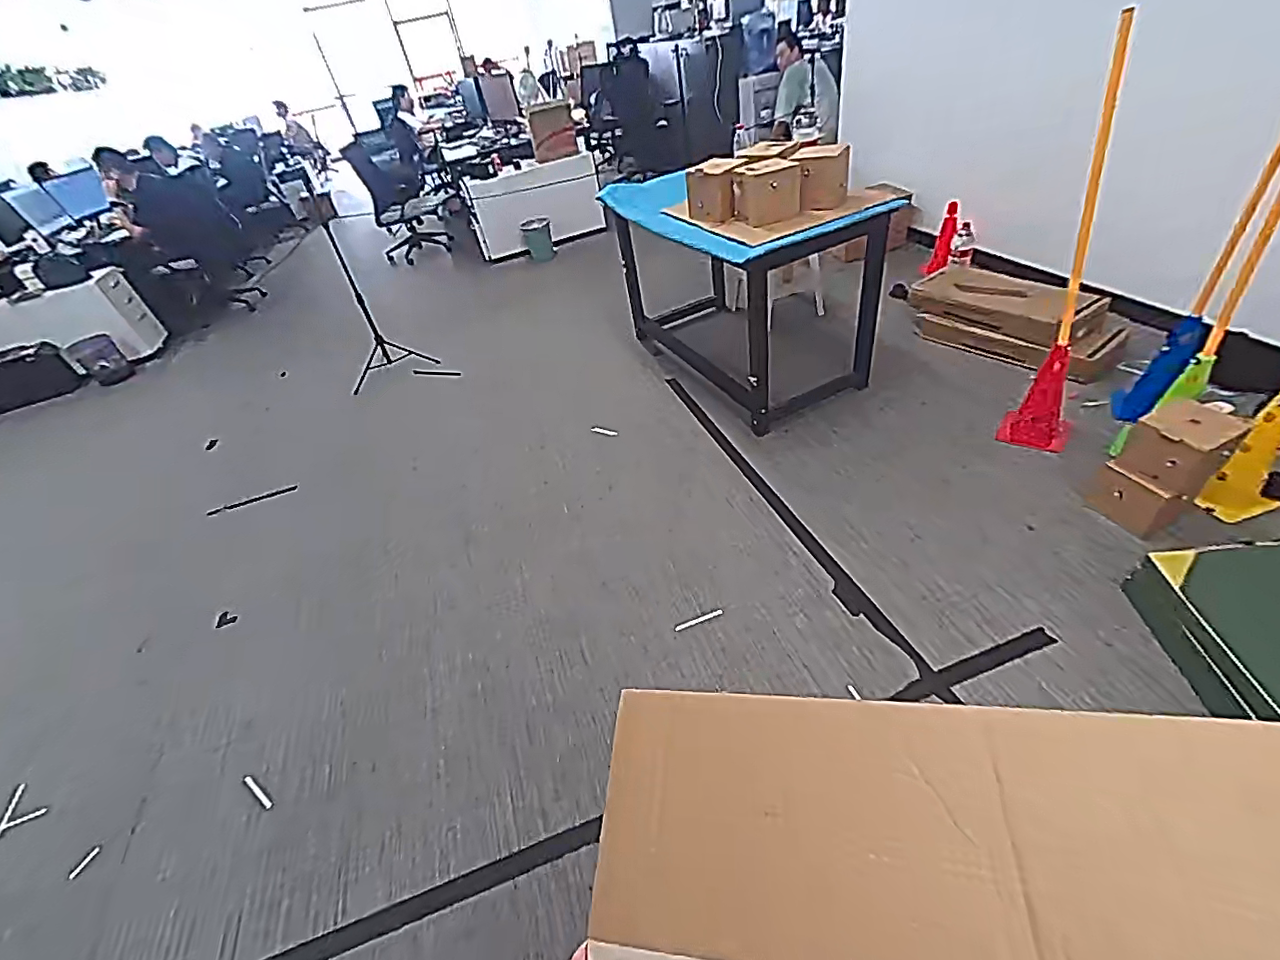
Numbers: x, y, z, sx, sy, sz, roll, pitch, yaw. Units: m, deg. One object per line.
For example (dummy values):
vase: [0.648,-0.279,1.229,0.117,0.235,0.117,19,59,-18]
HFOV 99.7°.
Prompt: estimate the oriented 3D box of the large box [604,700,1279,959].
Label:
large box: [0.203,0.368,0.387,0.408,0.320,0.320,-4,53,16]
